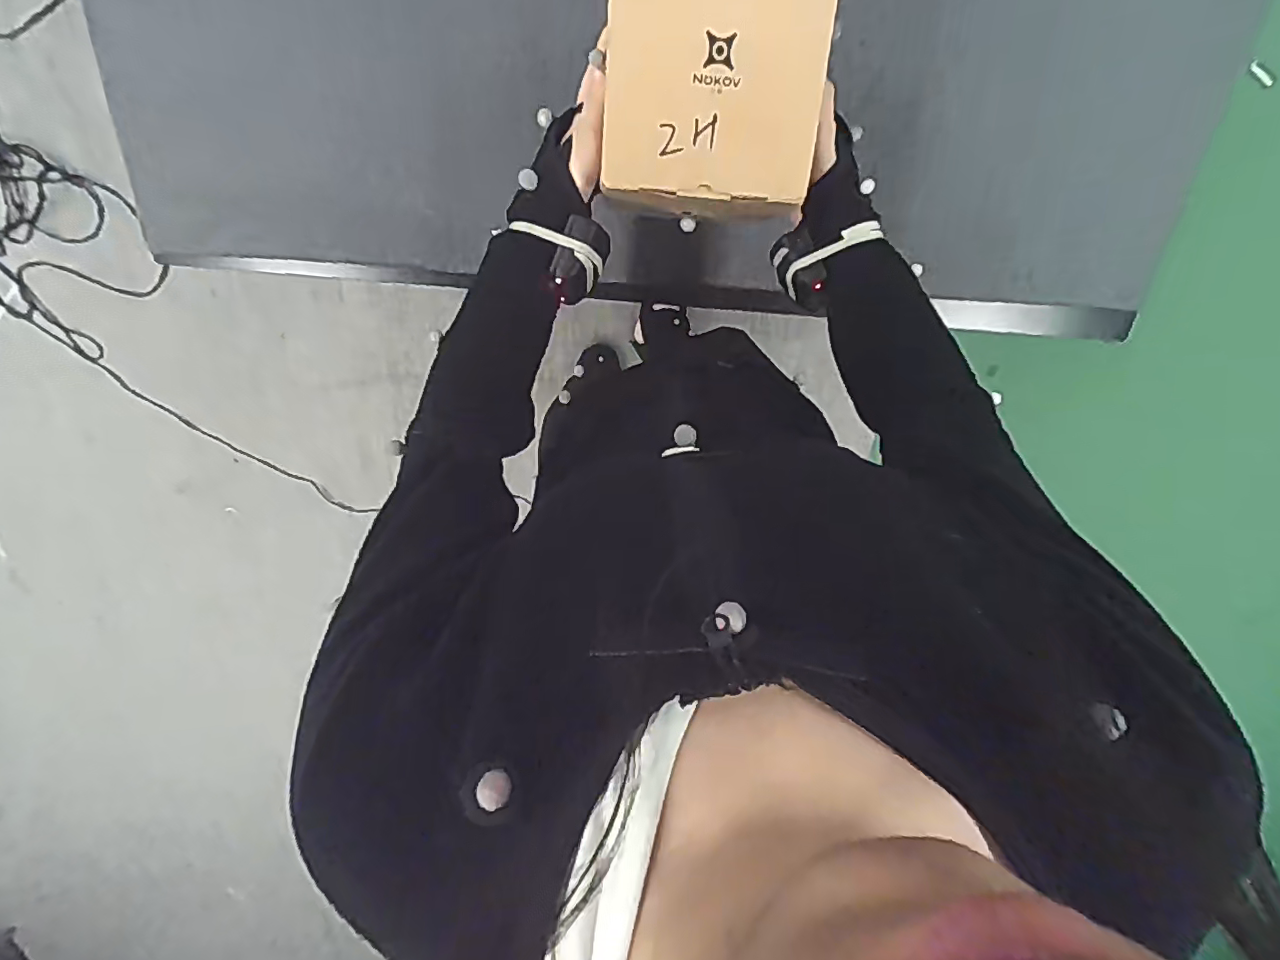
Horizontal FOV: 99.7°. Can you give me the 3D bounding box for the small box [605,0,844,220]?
[{"bbox_3d":[0.058,-0.337,0.465,0.168,0.176,0.179,4,109,-2],"label":"small box"}]
